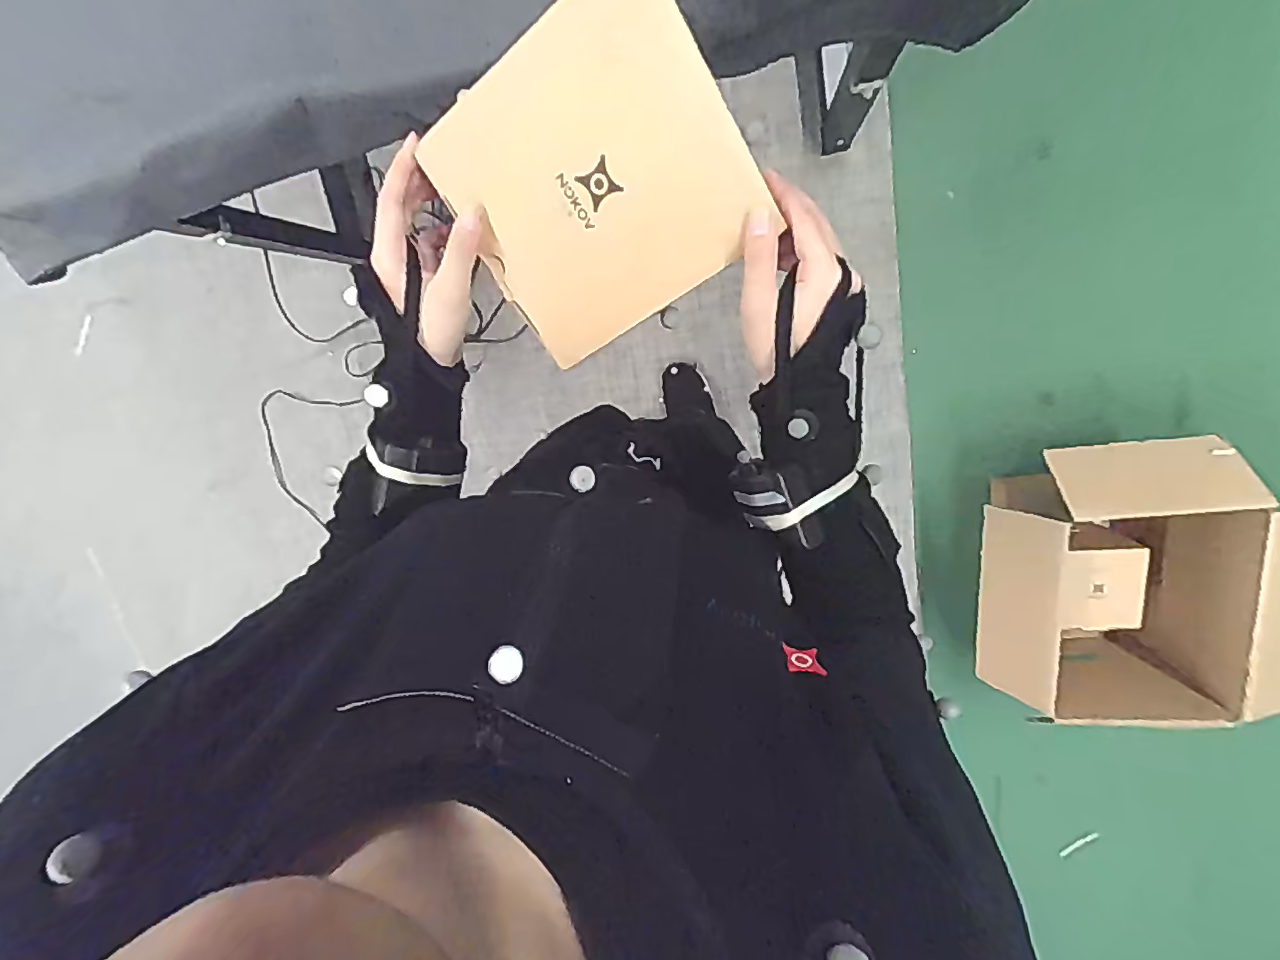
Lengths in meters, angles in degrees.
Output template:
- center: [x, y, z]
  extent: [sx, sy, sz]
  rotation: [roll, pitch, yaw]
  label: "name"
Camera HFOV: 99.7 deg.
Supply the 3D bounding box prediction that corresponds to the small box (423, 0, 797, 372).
- center: [-0.007, -0.211, 0.392]
  extent: [0.179, 0.176, 0.168]
  rotation: [-27, 109, 24]
  label: "small box"
